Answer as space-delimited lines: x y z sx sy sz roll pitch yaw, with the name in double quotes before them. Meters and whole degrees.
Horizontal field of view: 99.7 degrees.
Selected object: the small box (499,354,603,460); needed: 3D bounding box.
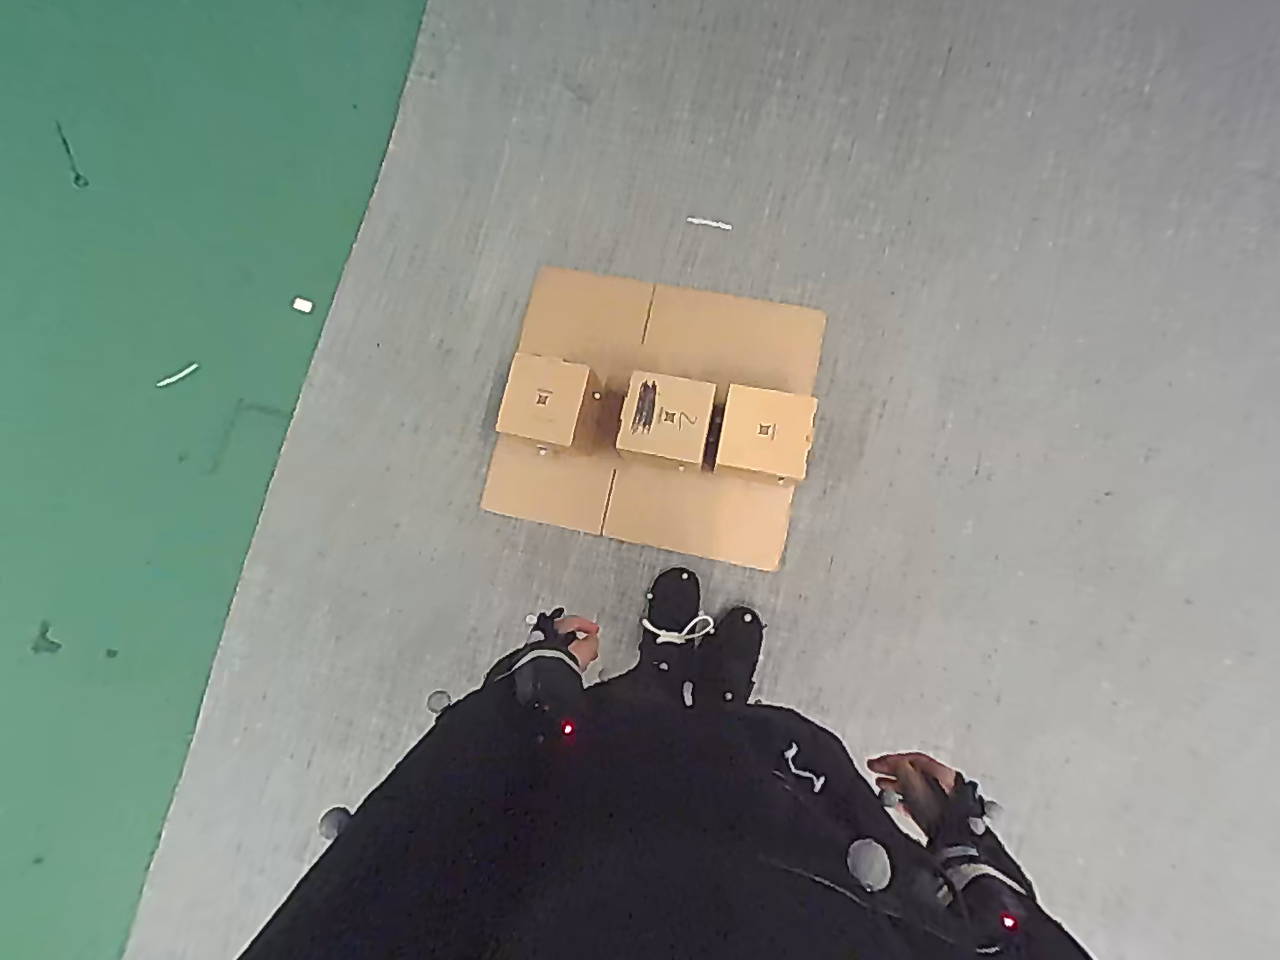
"small box" -0.185 -0.154 1.184 0.168 0.176 0.179 12 86 8
